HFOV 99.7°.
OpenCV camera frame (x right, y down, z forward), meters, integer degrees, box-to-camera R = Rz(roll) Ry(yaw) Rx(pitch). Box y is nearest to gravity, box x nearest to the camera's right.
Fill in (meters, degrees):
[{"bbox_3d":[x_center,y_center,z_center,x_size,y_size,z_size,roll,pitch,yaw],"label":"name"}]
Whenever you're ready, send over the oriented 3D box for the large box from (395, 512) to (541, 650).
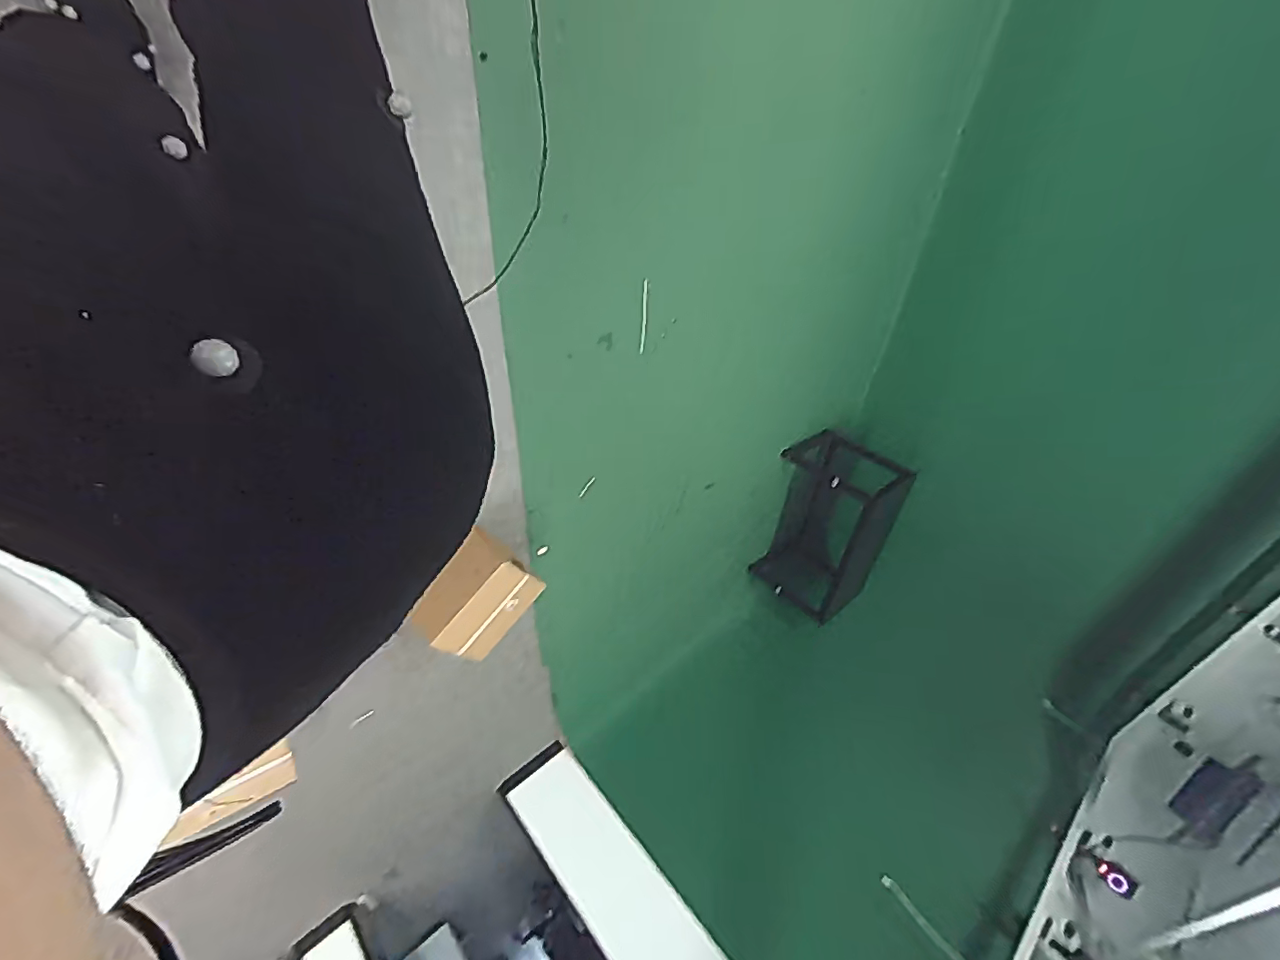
[{"bbox_3d":[-0.689,0.409,2.183,0.408,0.320,0.320,-50,146,-6],"label":"large box"}]
